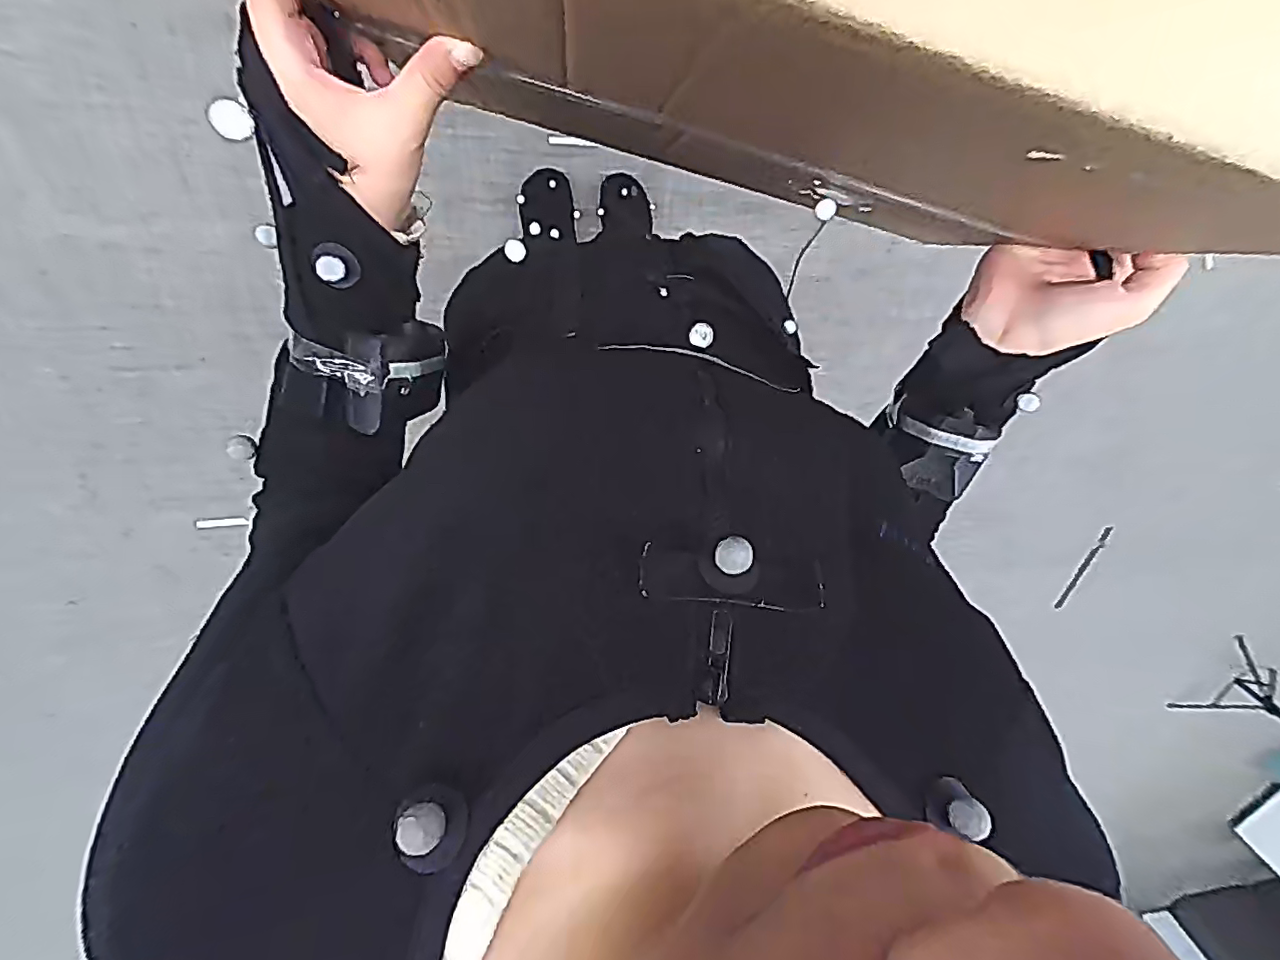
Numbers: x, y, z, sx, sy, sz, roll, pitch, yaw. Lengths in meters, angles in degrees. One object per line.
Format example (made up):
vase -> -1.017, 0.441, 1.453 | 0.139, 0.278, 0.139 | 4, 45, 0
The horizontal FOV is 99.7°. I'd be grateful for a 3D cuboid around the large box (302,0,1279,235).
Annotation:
large box -> 0.082, -0.312, 0.212 | 0.408, 0.320, 0.320 | 9, 115, -10
